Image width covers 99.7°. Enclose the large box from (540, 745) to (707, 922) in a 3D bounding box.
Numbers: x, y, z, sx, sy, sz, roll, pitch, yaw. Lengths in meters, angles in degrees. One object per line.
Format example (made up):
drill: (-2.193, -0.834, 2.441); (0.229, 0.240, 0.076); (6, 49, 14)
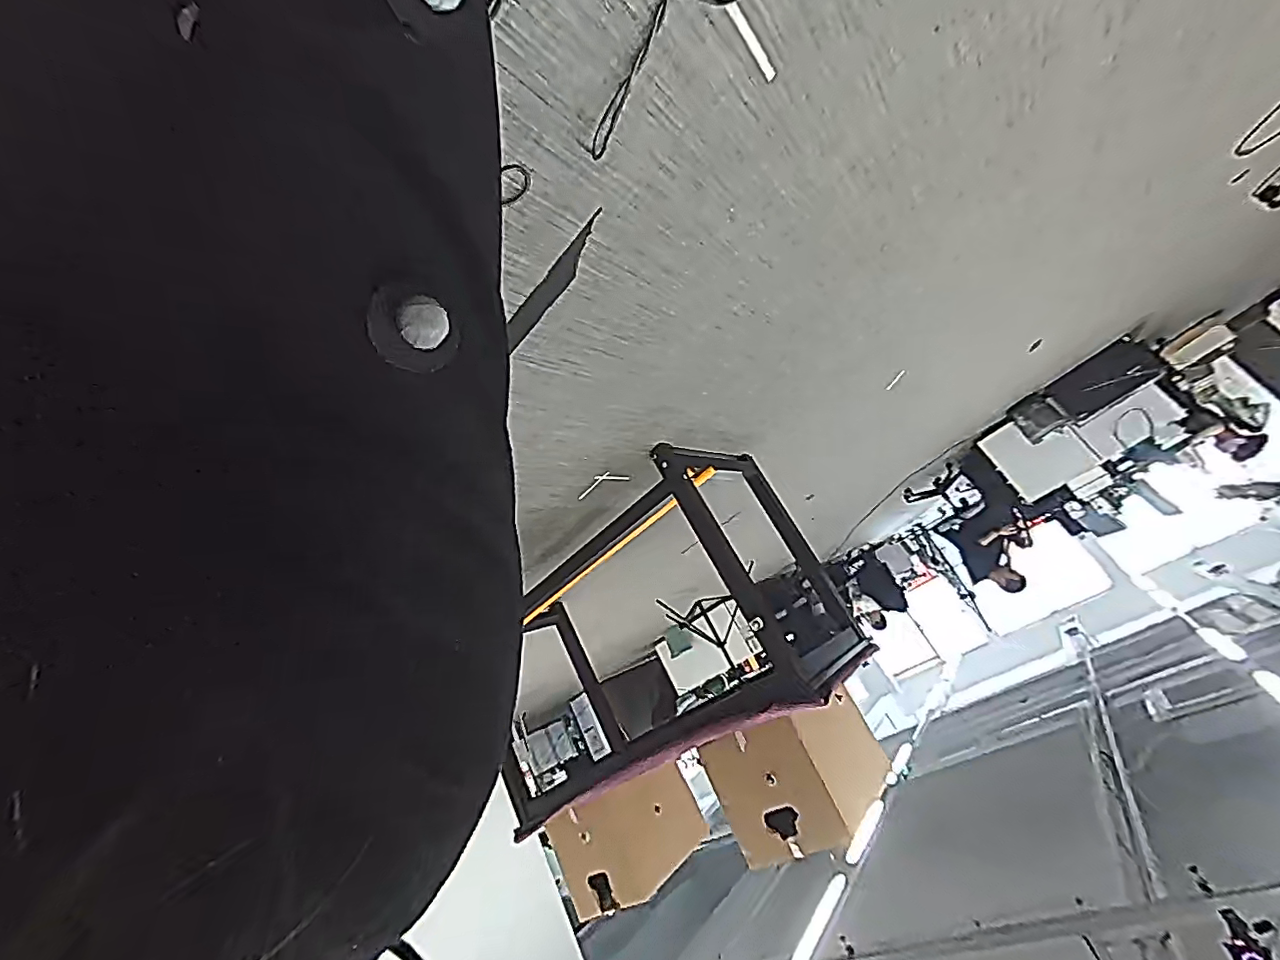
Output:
large box: (-0.052, 1.168, 1.820); (0.320, 0.320, 0.408); (-40, 158, 28)
